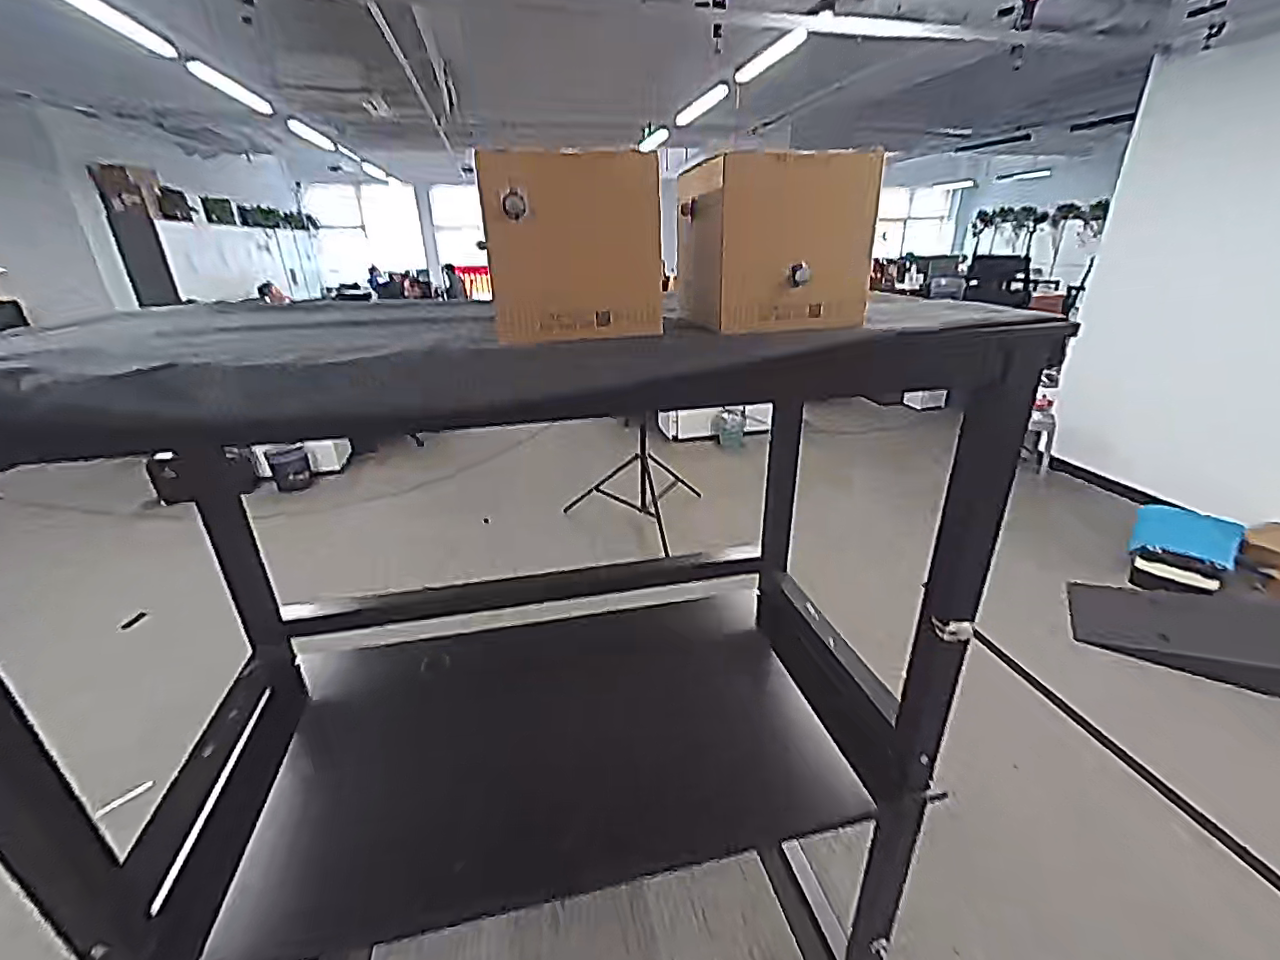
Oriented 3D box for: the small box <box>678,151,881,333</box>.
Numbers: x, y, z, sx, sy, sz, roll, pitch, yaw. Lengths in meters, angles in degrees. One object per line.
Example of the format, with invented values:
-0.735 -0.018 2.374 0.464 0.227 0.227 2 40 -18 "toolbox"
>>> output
0.142 -0.263 0.618 0.168 0.176 0.179 -7 23 -10 "small box"
